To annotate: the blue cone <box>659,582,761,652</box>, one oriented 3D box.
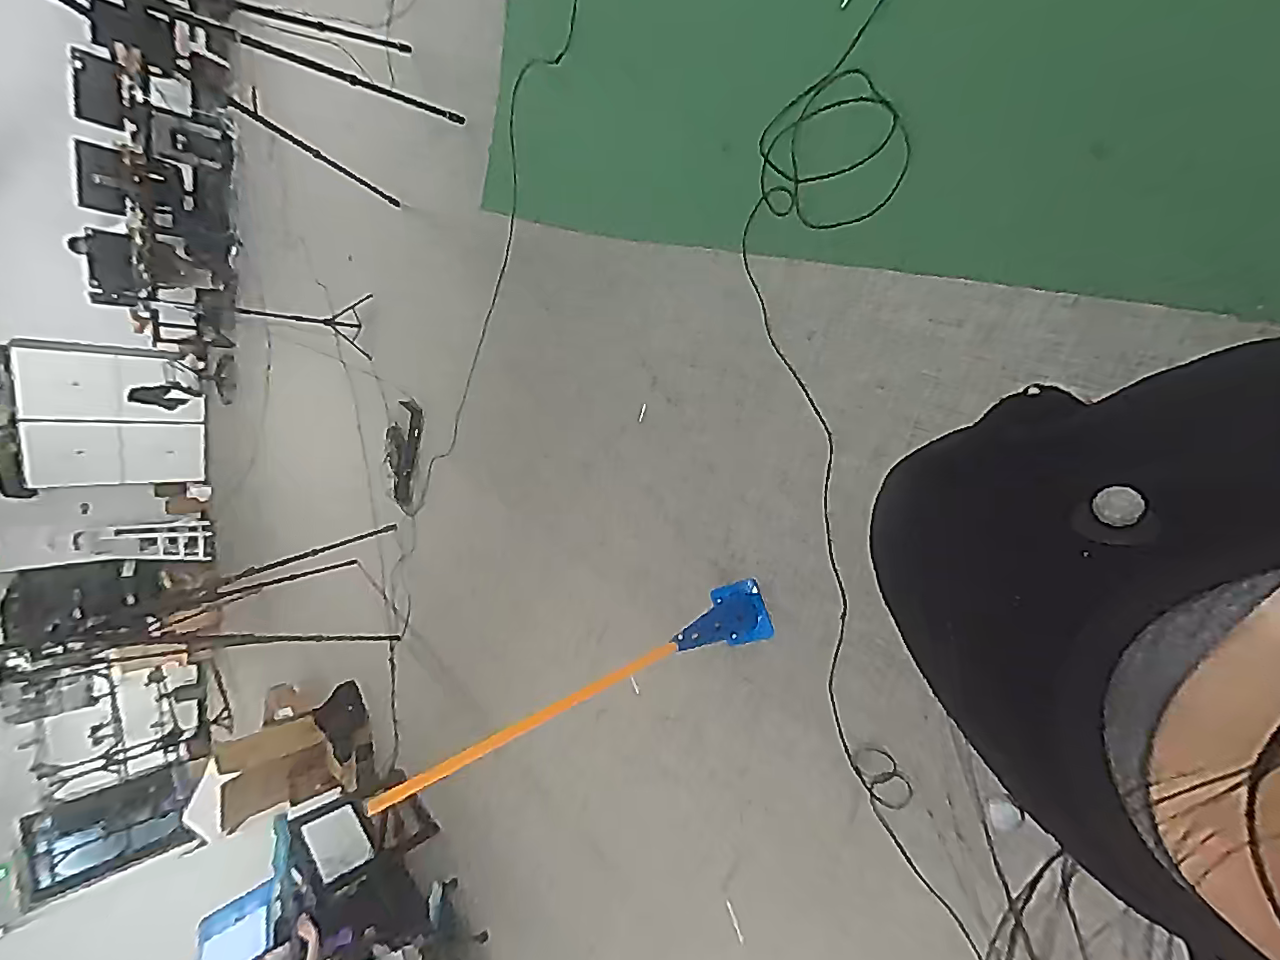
[{"bbox_3d":[0.196,0.469,1.689,0.193,0.380,0.192,-31,74,41],"label":"blue cone"}]
